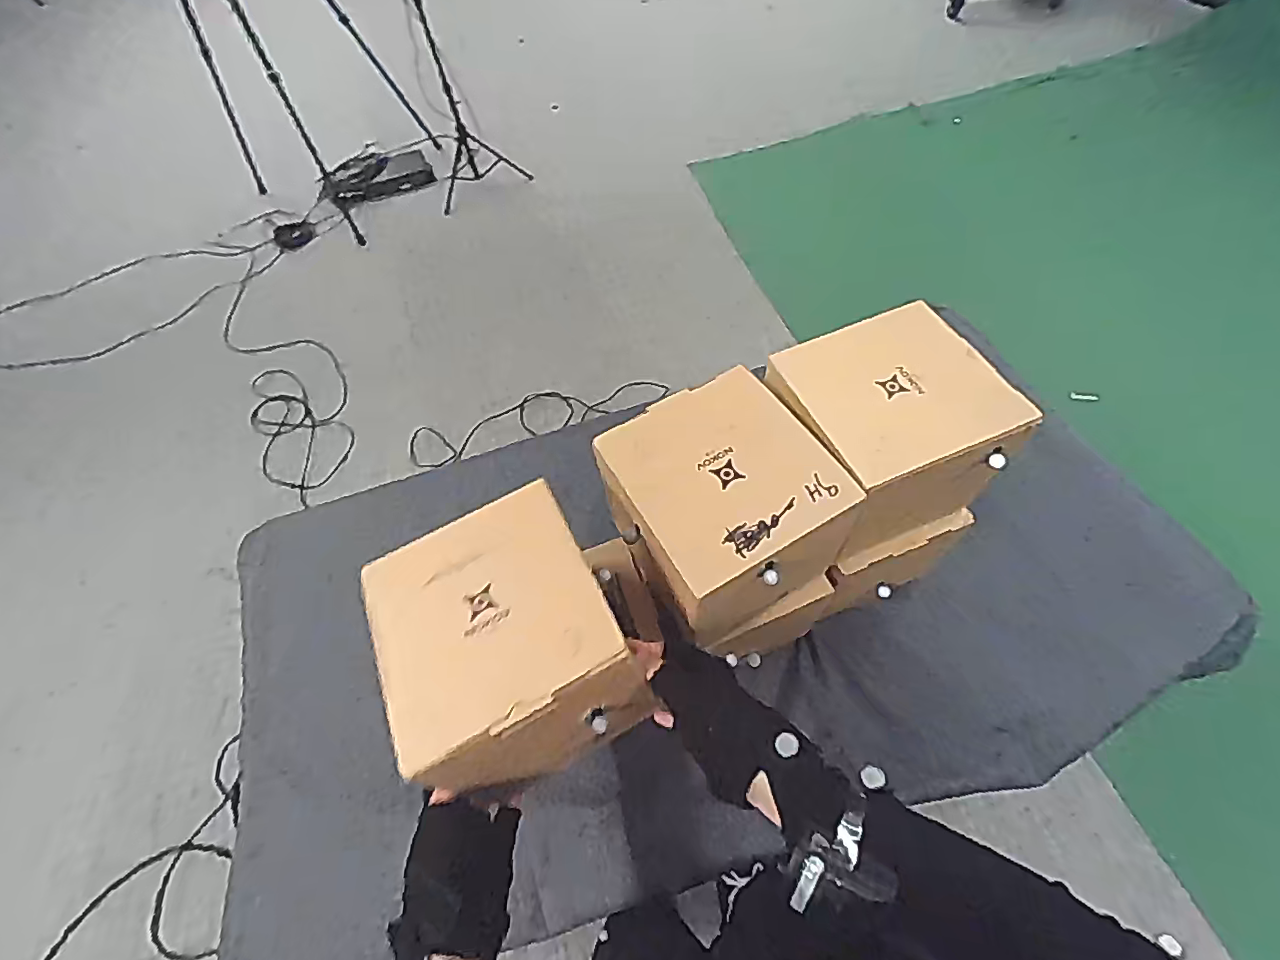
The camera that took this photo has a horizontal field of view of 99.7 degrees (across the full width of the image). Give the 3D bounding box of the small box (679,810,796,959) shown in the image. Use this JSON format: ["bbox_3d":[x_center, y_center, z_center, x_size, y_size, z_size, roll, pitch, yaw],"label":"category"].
[{"bbox_3d":[0.203,0.823,1.084,0.168,0.176,0.179,4,29,39],"label":"small box"}]

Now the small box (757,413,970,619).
[{"bbox_3d":[0.263,0.051,0.691,0.168,0.176,0.179,-21,59,-6],"label":"small box"}]
